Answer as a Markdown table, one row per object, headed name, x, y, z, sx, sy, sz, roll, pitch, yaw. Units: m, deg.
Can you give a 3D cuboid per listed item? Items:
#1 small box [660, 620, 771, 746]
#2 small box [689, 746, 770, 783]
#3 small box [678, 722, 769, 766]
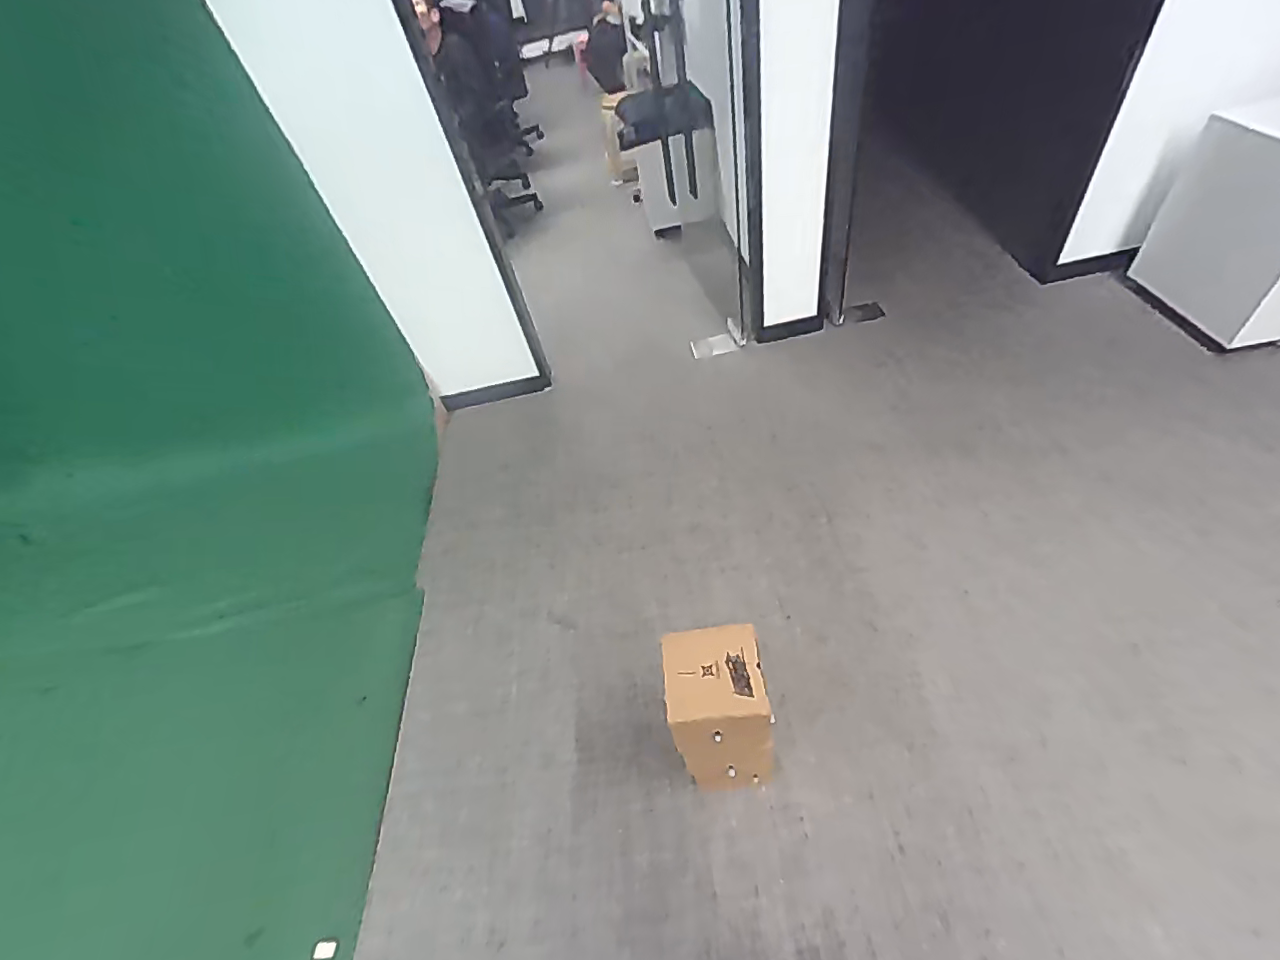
| name | x | y | z | sx | sy | sz | roll | pitch | yaw |
| --- | --- | --- | --- | --- | --- | --- | --- | --- | --- |
| small box | 0.140 | 0.387 | 1.023 | 0.179 | 0.176 | 0.168 | -9 | 48 | 3 |
| small box | 0.202 | 0.596 | 1.269 | 0.179 | 0.176 | 0.168 | -11 | 47 | 6 |
| small box | 0.172 | 0.494 | 1.144 | 0.179 | 0.176 | 0.168 | -6 | 48 | 7 |
